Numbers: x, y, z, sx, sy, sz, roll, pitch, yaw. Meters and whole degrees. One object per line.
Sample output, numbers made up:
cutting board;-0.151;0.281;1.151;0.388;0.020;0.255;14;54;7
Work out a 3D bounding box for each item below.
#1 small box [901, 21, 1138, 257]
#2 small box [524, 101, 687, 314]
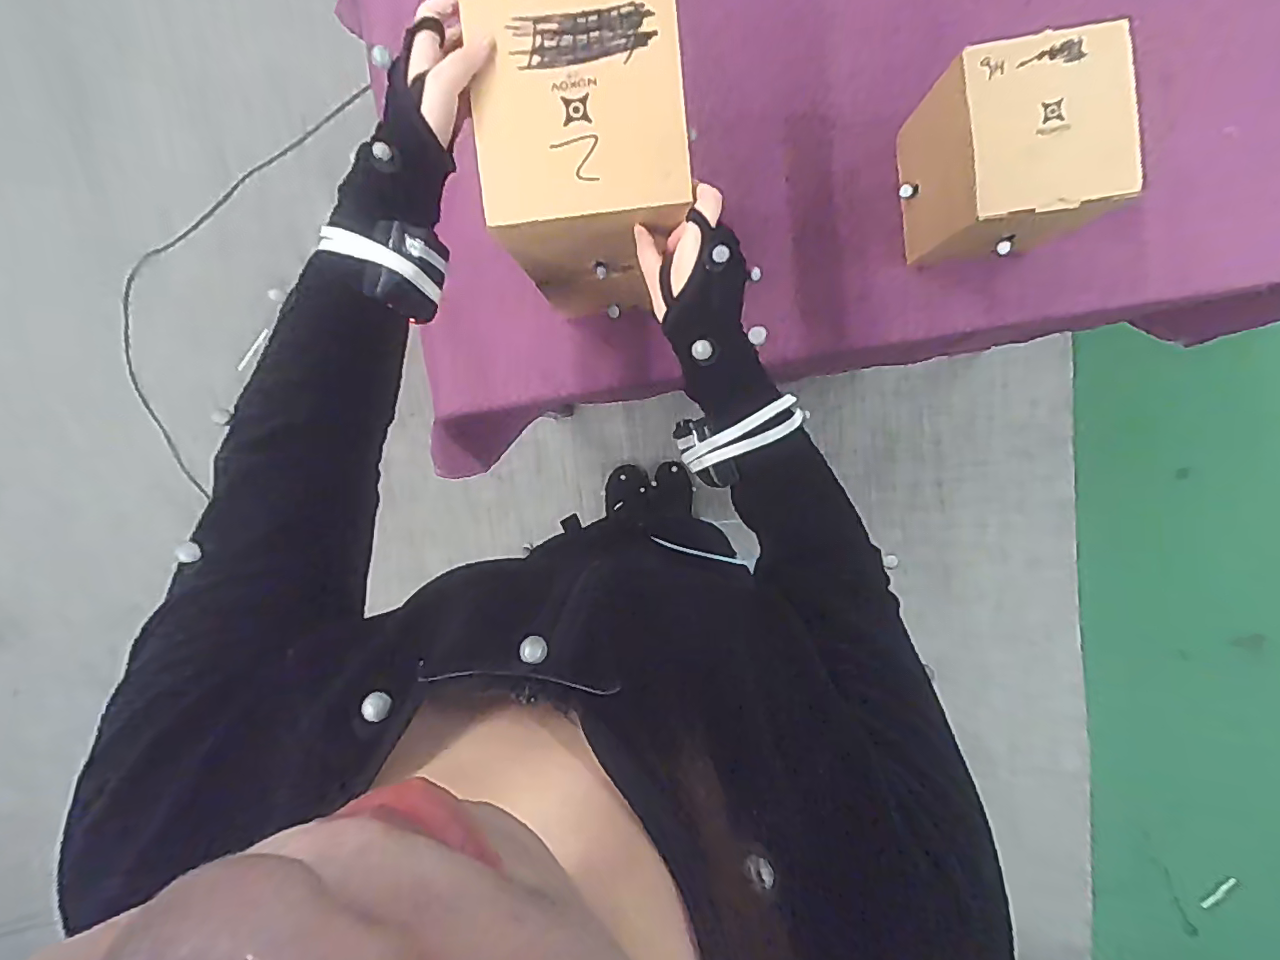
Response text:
small box;0.427;-0.375;0.634;0.168;0.176;0.179;-7;96;3
small box;-0.035;-0.315;0.660;0.168;0.176;0.179;-6;96;3
